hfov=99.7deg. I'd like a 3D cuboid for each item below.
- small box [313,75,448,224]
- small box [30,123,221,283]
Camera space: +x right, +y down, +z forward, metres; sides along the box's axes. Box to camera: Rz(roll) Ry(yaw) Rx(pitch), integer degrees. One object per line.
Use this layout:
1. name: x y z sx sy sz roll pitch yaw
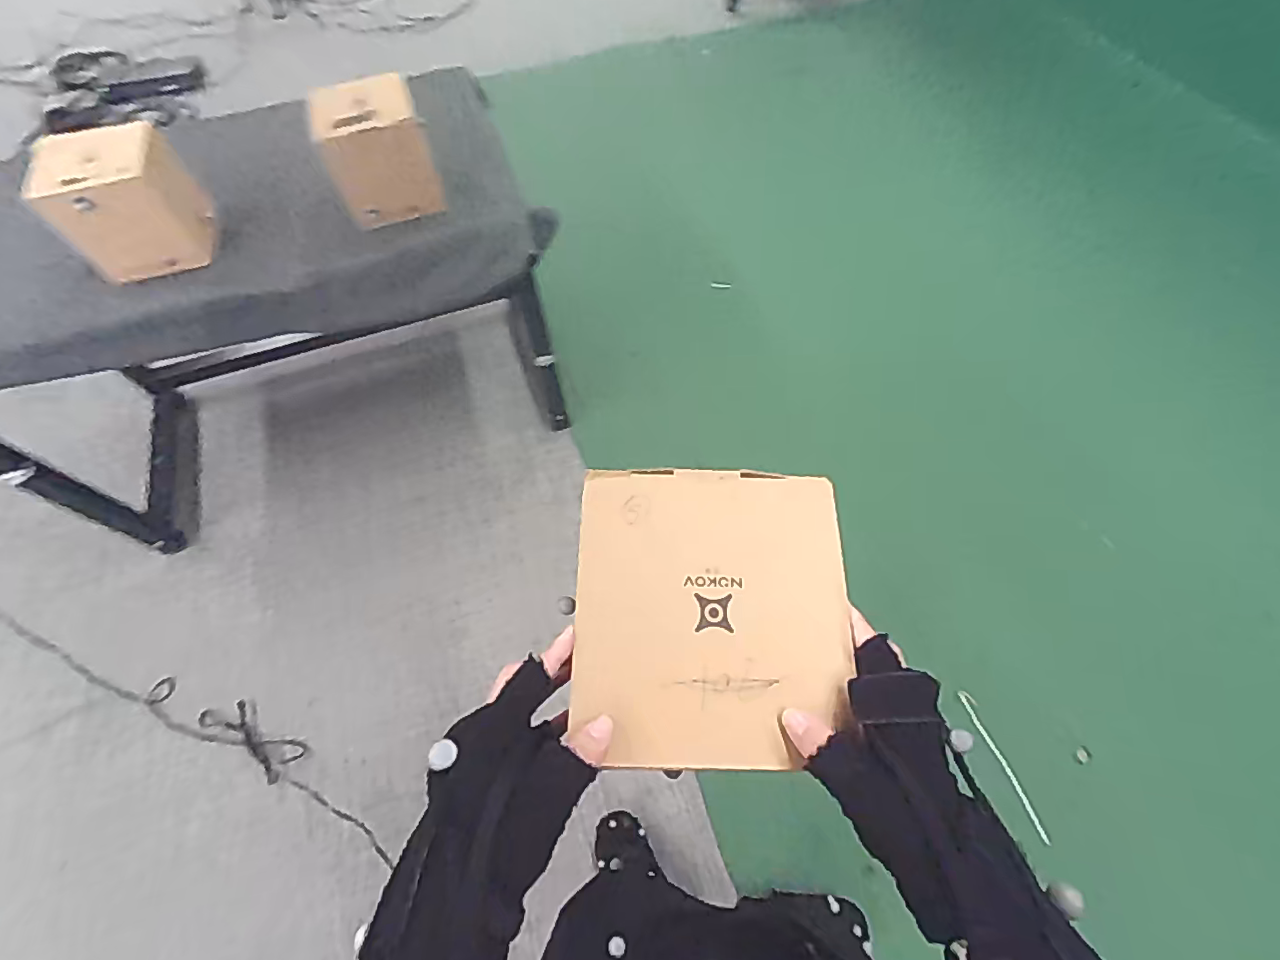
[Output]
1. small box: -0.468 -0.596 0.993 0.168 0.176 0.179 -18 61 -8
2. small box: -0.868 -0.476 0.937 0.168 0.176 0.179 -18 61 -8
